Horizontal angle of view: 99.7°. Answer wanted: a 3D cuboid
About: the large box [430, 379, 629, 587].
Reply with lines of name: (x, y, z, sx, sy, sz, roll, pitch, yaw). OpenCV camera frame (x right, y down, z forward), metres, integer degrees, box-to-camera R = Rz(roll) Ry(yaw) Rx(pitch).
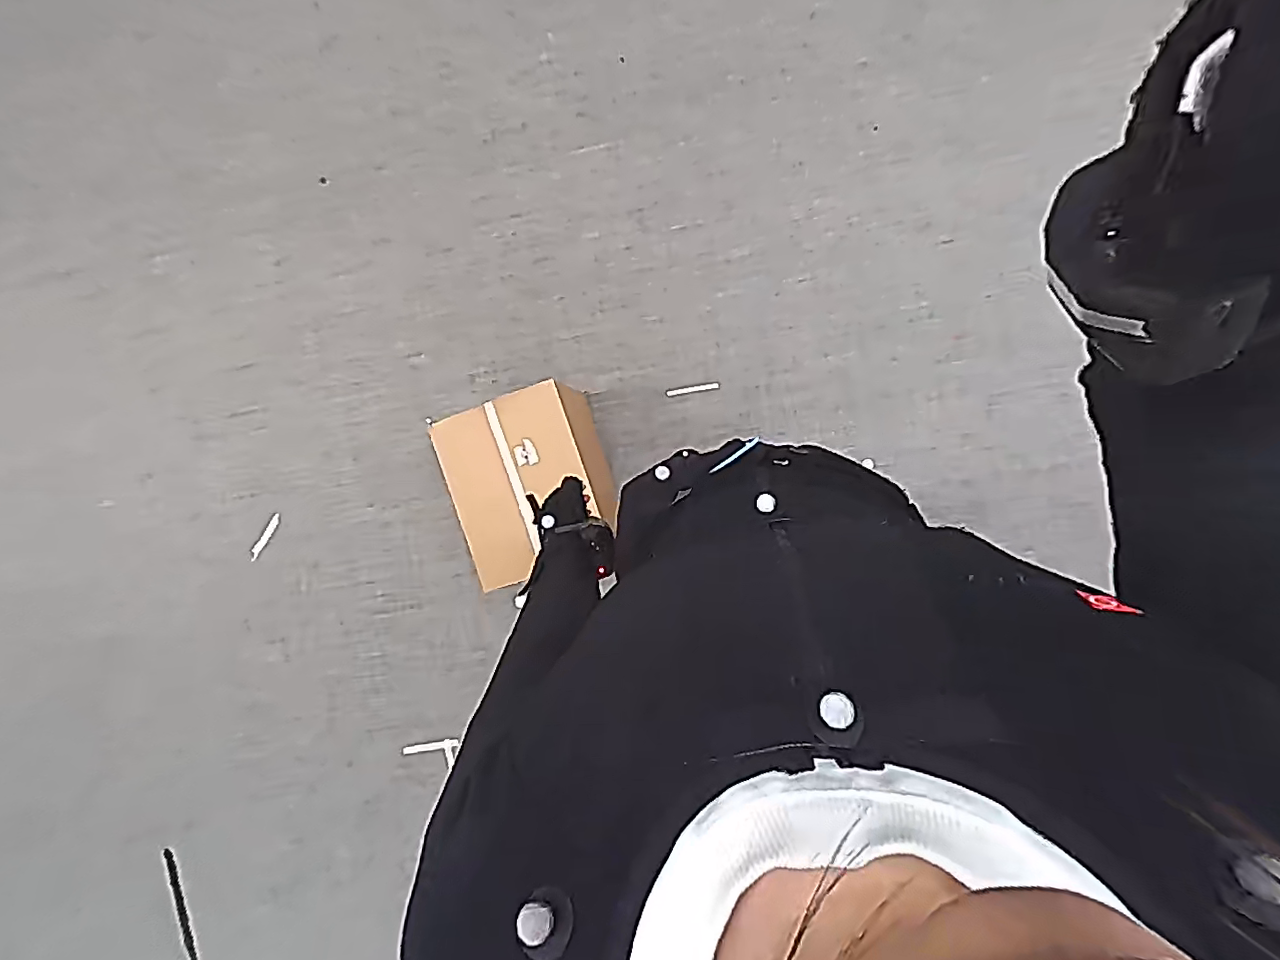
large box: (-0.251, 0.005, 1.356, 0.320, 0.320, 0.408, -19, 90, 6)
